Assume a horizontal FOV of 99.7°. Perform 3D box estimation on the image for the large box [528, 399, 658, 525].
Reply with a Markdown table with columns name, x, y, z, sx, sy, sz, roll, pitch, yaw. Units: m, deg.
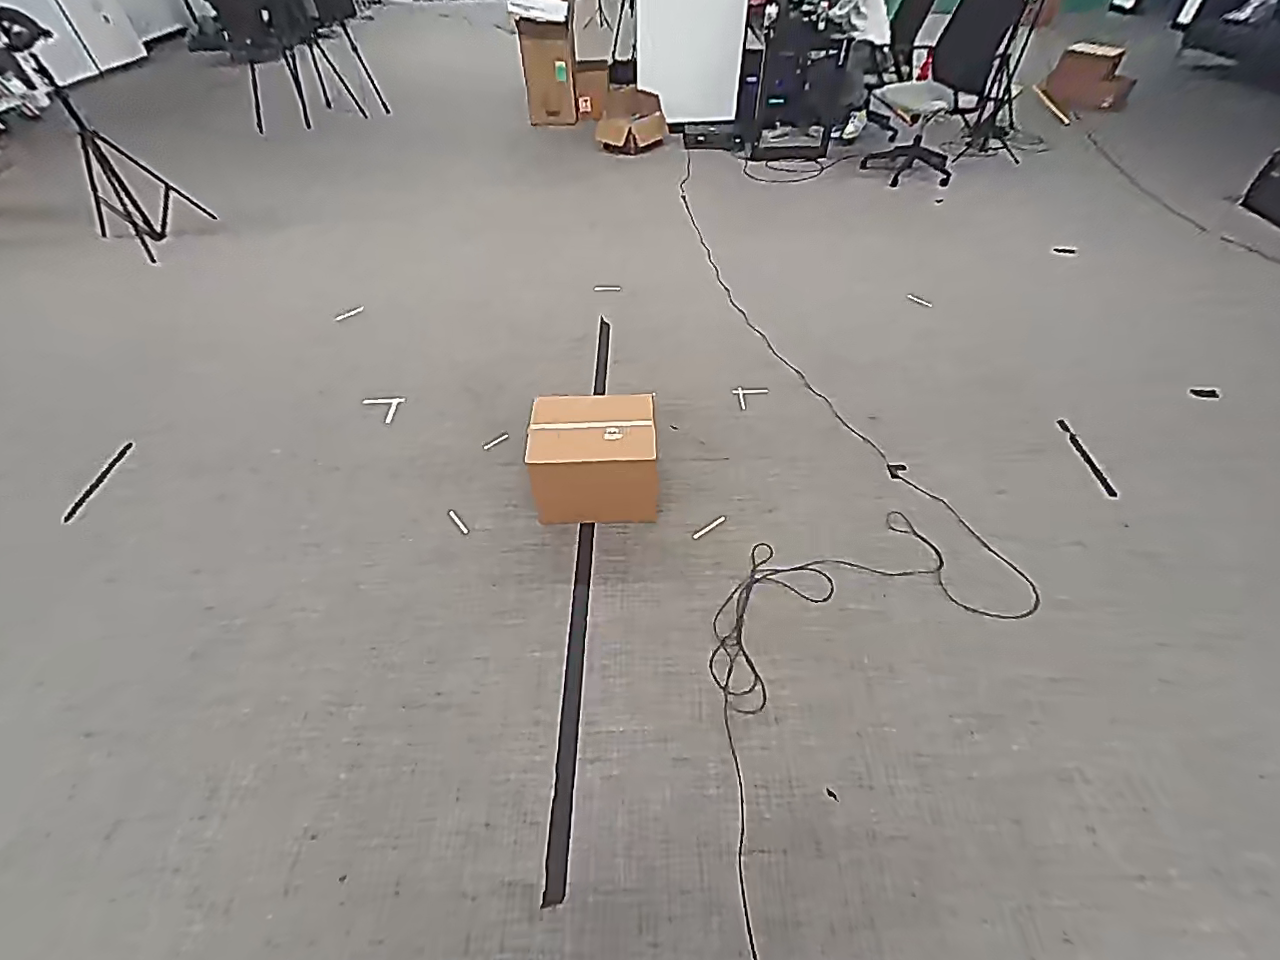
| name | x | y | z | sx | sy | sz | roll | pitch | yaw |
| --- | --- | --- | --- | --- | --- | --- | --- | --- | --- |
| large box | -0.152 | -0.059 | 1.856 | 0.408 | 0.320 | 0.320 | -1 | 48 | -1 |
